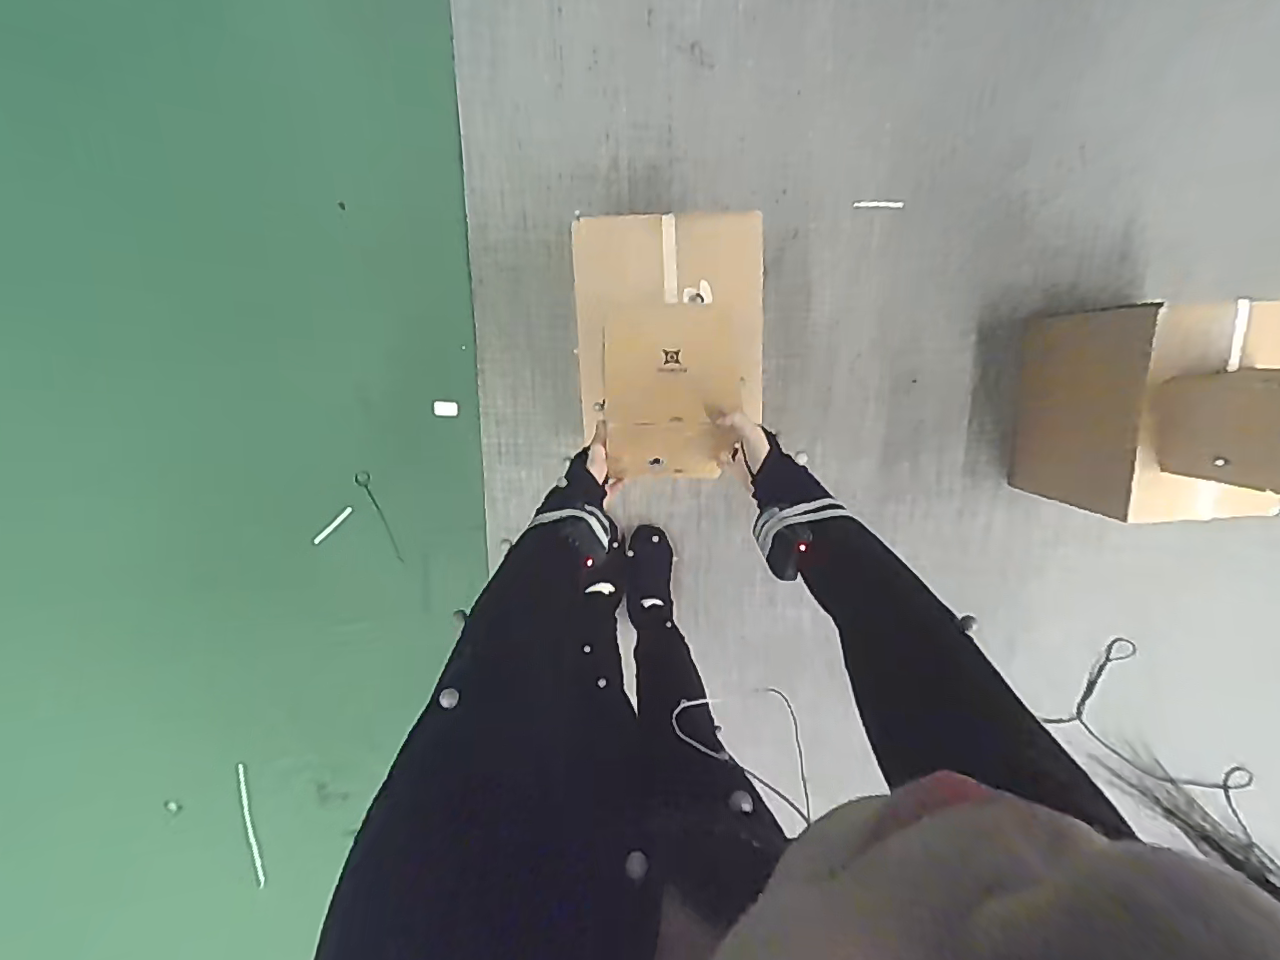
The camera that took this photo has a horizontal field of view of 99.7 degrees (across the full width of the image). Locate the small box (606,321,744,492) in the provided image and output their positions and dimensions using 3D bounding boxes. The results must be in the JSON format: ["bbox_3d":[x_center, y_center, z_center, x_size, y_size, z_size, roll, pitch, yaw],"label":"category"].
[{"bbox_3d":[0.037,-0.096,0.746,0.168,0.176,0.179,-1,67,-3],"label":"small box"}]

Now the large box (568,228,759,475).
[{"bbox_3d":[0.042,-0.238,1.077,0.320,0.320,0.408,-4,99,-2],"label":"large box"}]
